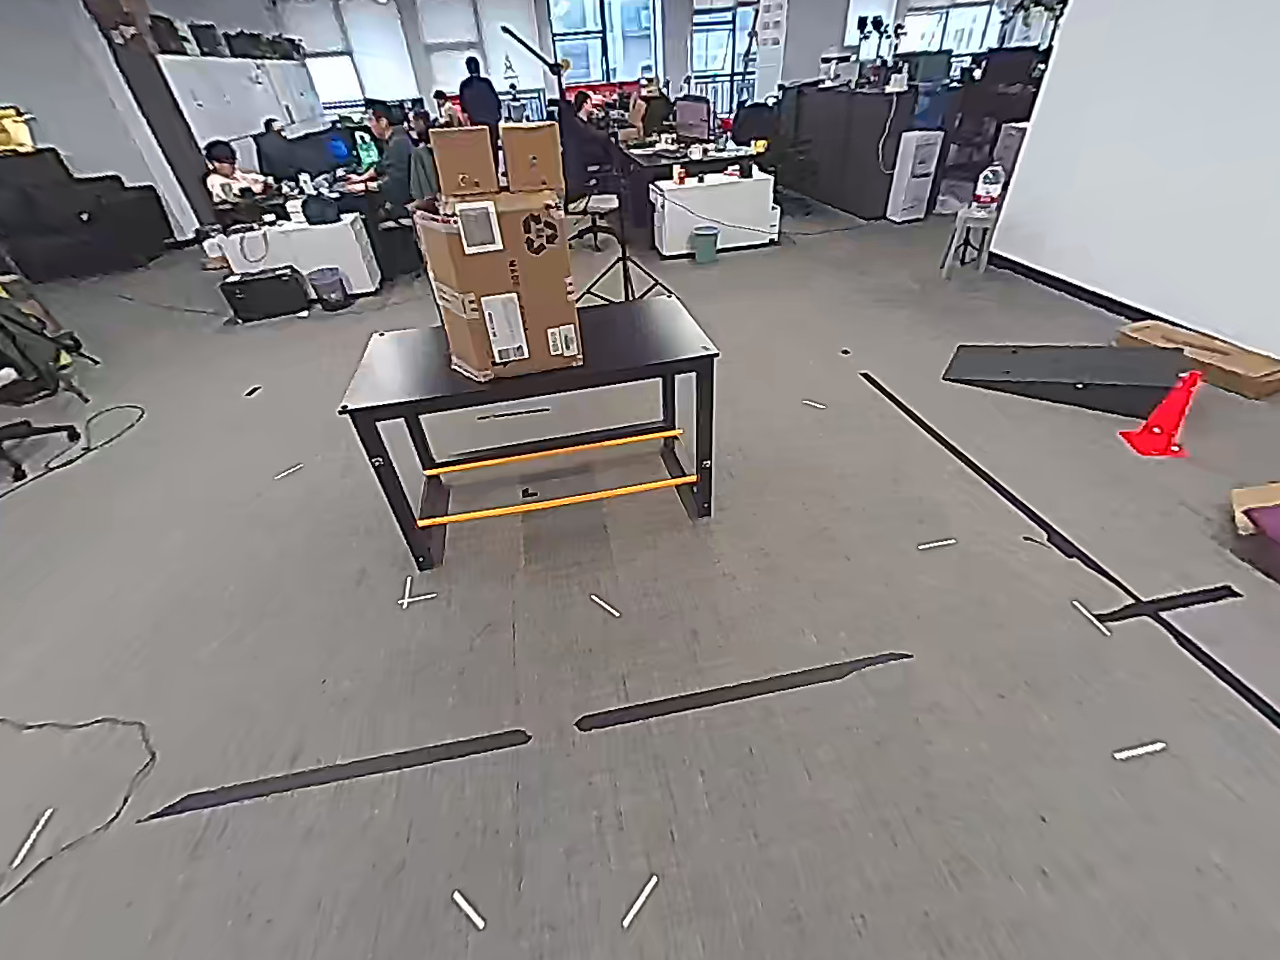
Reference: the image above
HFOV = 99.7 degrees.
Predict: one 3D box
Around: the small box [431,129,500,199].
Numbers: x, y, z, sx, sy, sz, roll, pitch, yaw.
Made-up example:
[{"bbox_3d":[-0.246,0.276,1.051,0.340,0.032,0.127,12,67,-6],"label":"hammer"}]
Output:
[{"bbox_3d":[-0.531,-0.963,1.645,0.168,0.176,0.179,-14,37,-13],"label":"small box"}]
